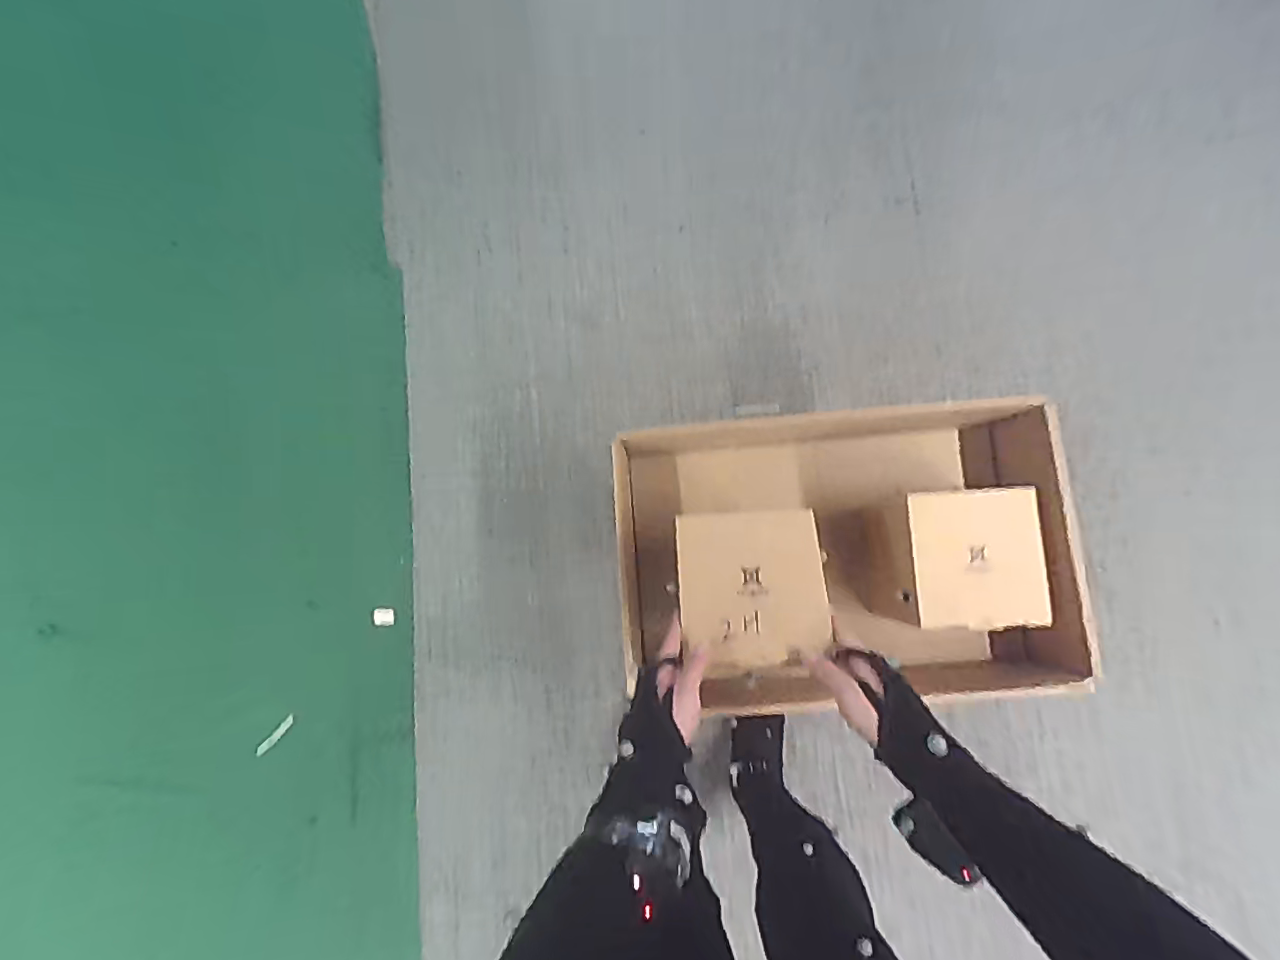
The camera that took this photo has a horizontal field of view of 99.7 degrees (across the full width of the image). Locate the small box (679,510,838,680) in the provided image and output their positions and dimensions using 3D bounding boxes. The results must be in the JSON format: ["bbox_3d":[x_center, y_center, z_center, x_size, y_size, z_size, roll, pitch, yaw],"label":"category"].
[{"bbox_3d":[0.134,0.151,0.680,0.168,0.176,0.179,-3,65,4],"label":"small box"}]
